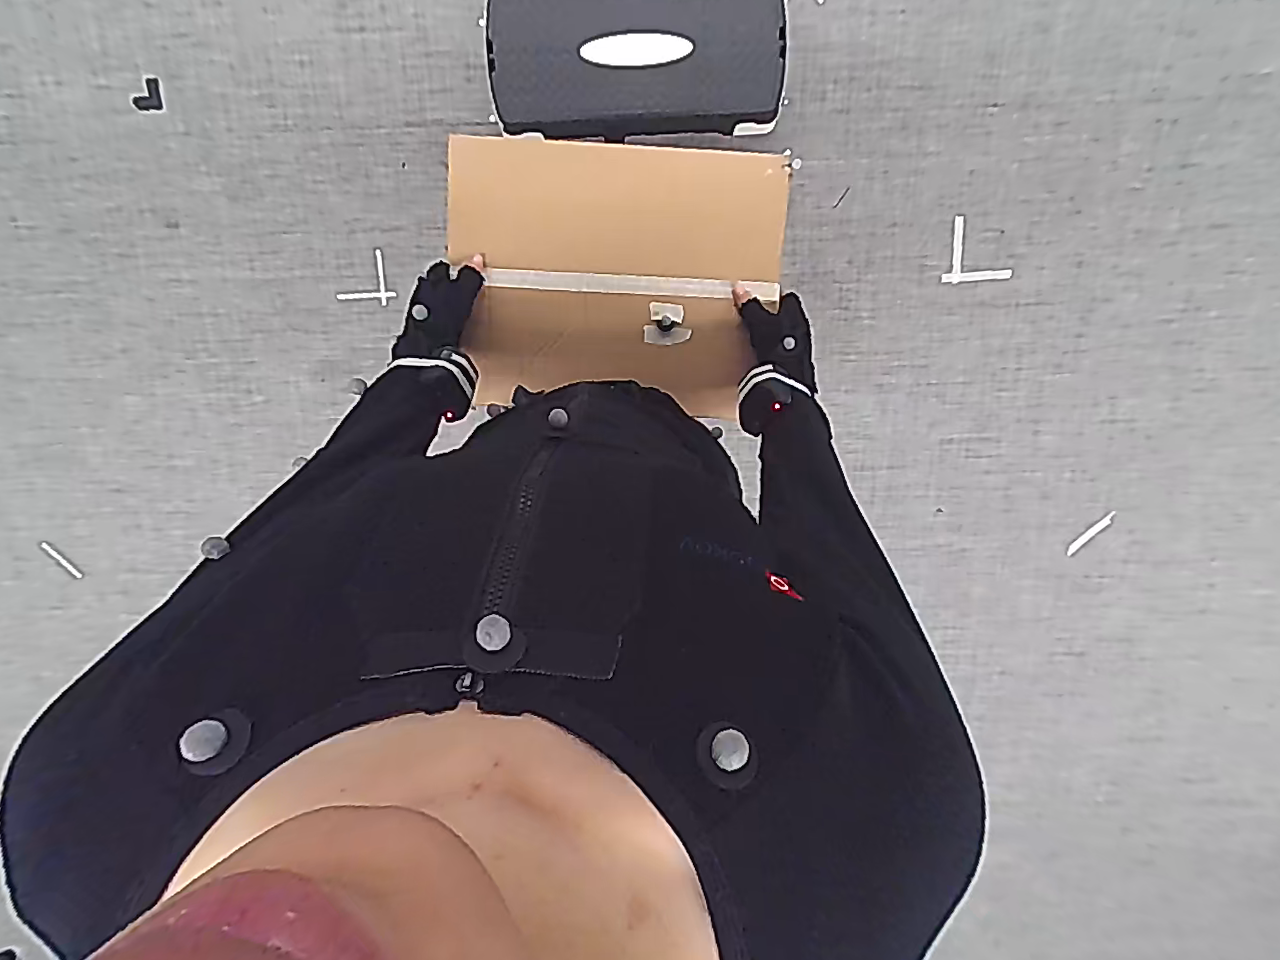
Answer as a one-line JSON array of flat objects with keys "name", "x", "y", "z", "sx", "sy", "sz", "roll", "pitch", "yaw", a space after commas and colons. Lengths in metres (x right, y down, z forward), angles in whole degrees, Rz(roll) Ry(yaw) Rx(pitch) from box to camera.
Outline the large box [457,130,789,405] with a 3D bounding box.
[{"name": "large box", "x": -0.028, "y": -0.280, "z": 0.814, "sx": 0.408, "sy": 0.320, "sz": 0.320, "roll": 3, "pitch": 101, "yaw": -1}]
